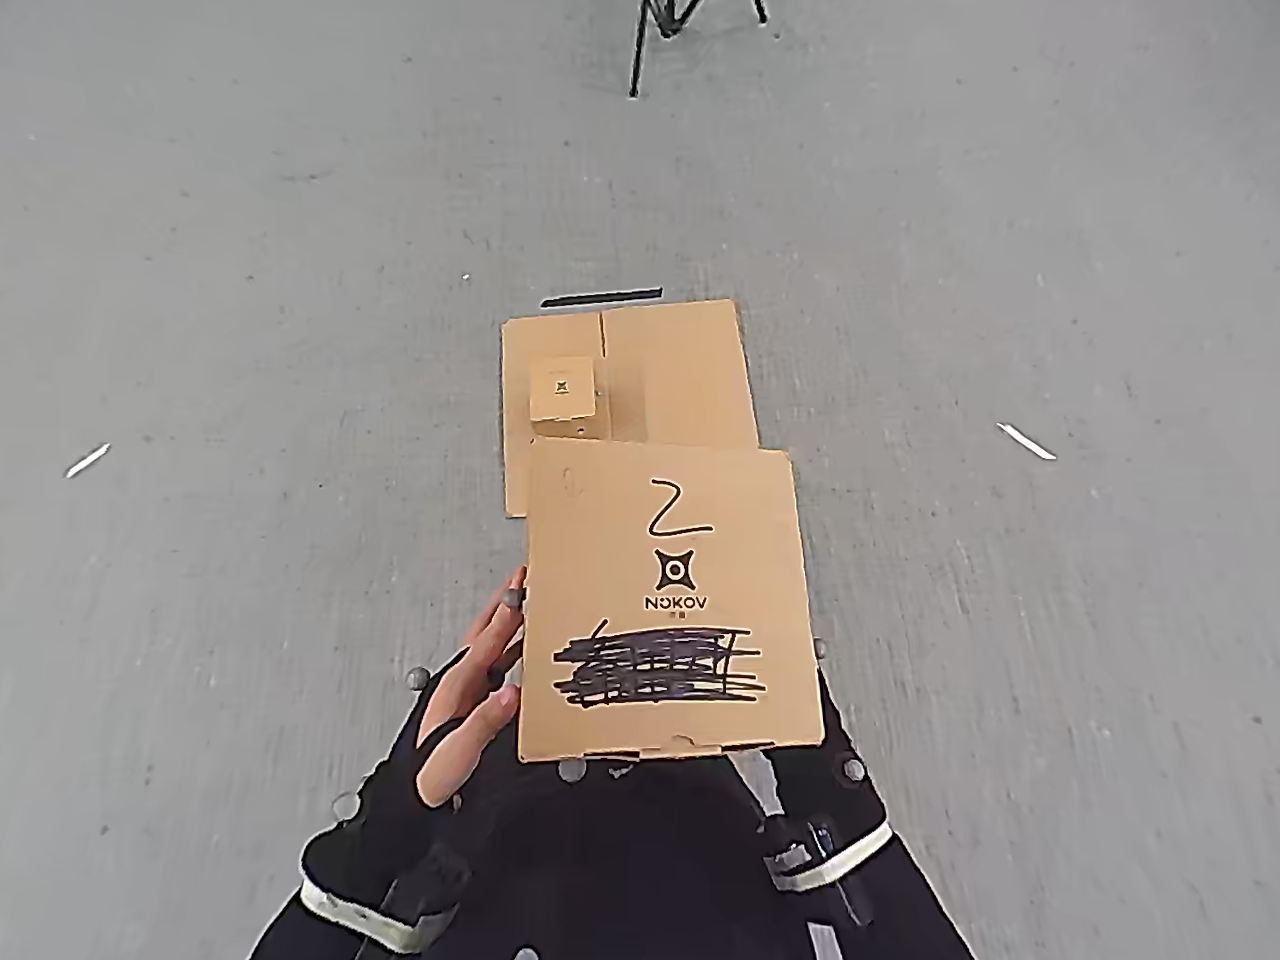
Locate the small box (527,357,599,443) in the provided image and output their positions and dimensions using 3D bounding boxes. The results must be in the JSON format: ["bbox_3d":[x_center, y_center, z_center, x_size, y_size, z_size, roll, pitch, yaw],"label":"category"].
[{"bbox_3d":[-0.201,-0.205,1.436,0.168,0.176,0.179,-4,72,-1],"label":"small box"}]
